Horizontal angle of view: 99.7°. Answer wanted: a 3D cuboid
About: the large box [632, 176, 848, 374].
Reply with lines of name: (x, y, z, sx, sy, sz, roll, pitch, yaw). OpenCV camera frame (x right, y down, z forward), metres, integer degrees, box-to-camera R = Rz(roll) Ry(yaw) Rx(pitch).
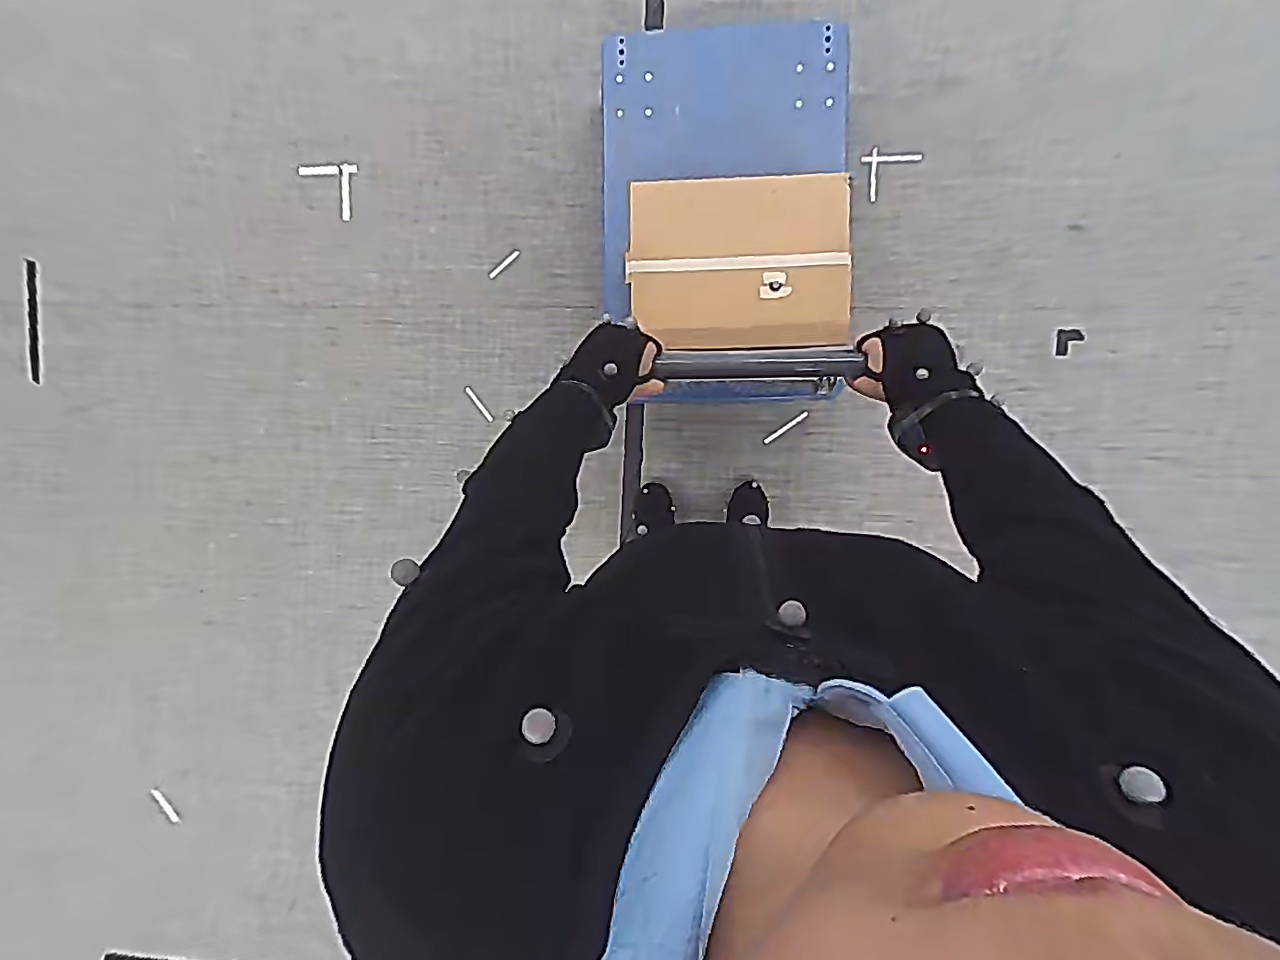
large box: (0.196, -0.412, 1.168, 0.408, 0.320, 0.320, -1, 94, 4)
